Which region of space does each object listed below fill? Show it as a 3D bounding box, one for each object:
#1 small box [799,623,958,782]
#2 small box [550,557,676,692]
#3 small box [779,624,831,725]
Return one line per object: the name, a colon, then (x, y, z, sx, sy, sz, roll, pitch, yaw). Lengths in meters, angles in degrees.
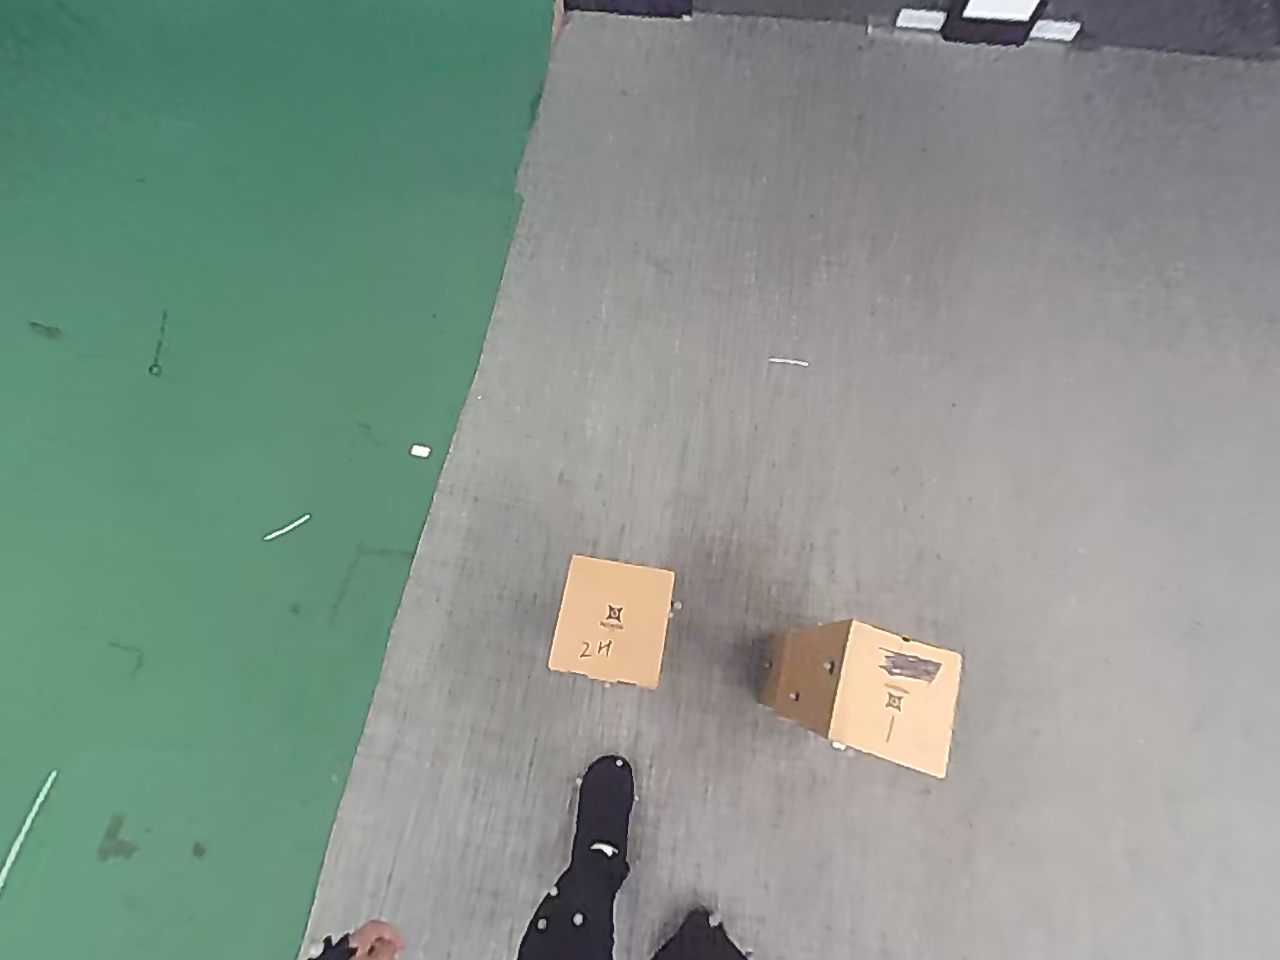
small box: (0.366, 0.340, 0.855, 0.168, 0.176, 0.179, 17, 74, 7)
small box: (-0.037, 0.242, 0.895, 0.168, 0.176, 0.179, 9, 71, 6)
small box: (0.371, 0.384, 1.014, 0.168, 0.176, 0.179, 16, 73, 6)
